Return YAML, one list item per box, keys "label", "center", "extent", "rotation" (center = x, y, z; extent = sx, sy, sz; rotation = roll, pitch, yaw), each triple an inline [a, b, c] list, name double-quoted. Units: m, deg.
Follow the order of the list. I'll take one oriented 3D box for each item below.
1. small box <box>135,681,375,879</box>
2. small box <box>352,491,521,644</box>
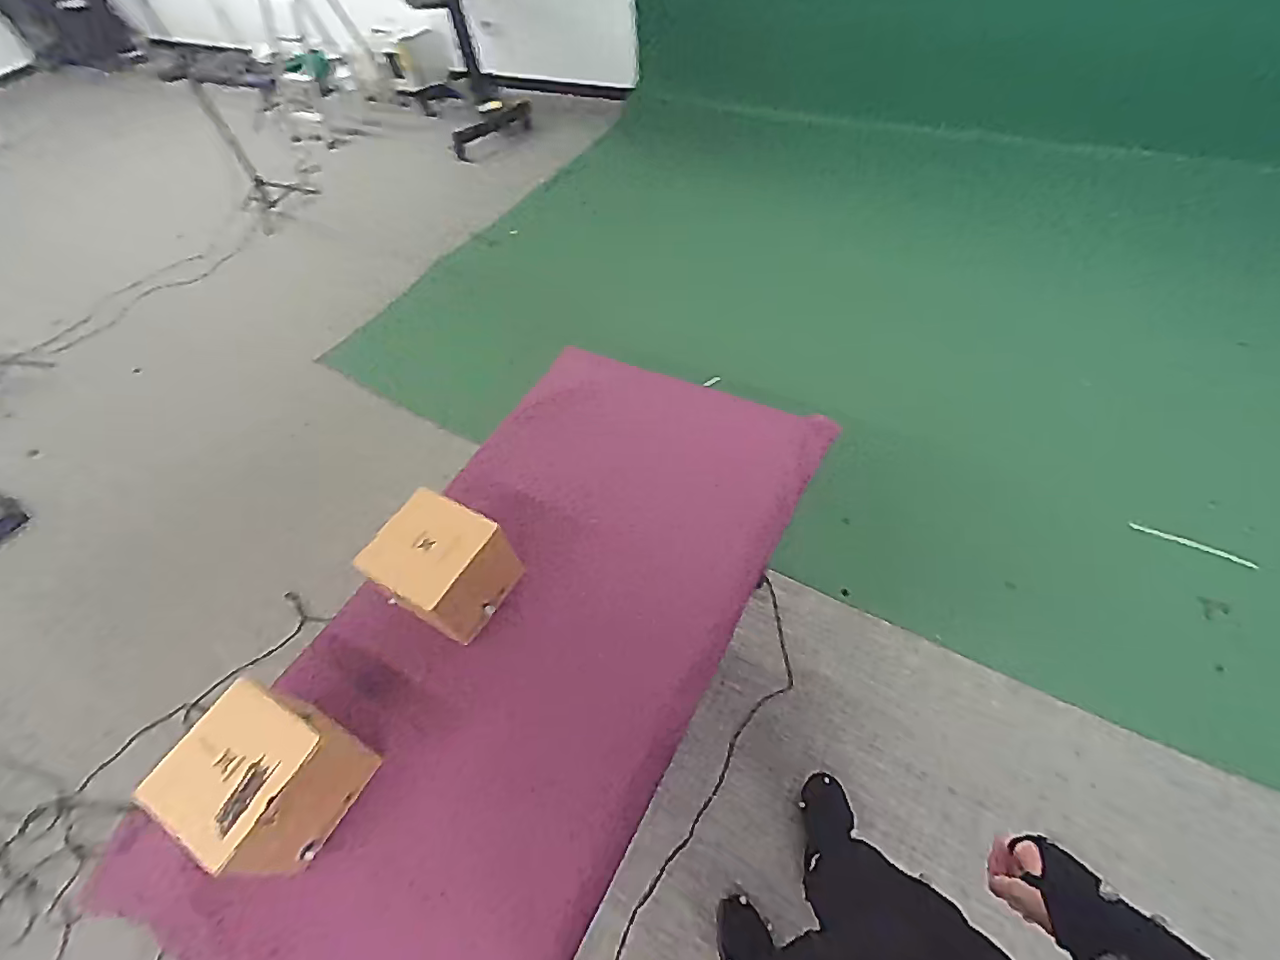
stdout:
- label: "small box"
  center: [-0.513, 0.412, 0.749]
  extent: [0.179, 0.176, 0.168]
  rotation: [21, 59, 21]
- label: "small box"
  center: [-0.333, 0.153, 0.918]
  extent: [0.179, 0.176, 0.168]
  rotation: [23, 61, 21]
